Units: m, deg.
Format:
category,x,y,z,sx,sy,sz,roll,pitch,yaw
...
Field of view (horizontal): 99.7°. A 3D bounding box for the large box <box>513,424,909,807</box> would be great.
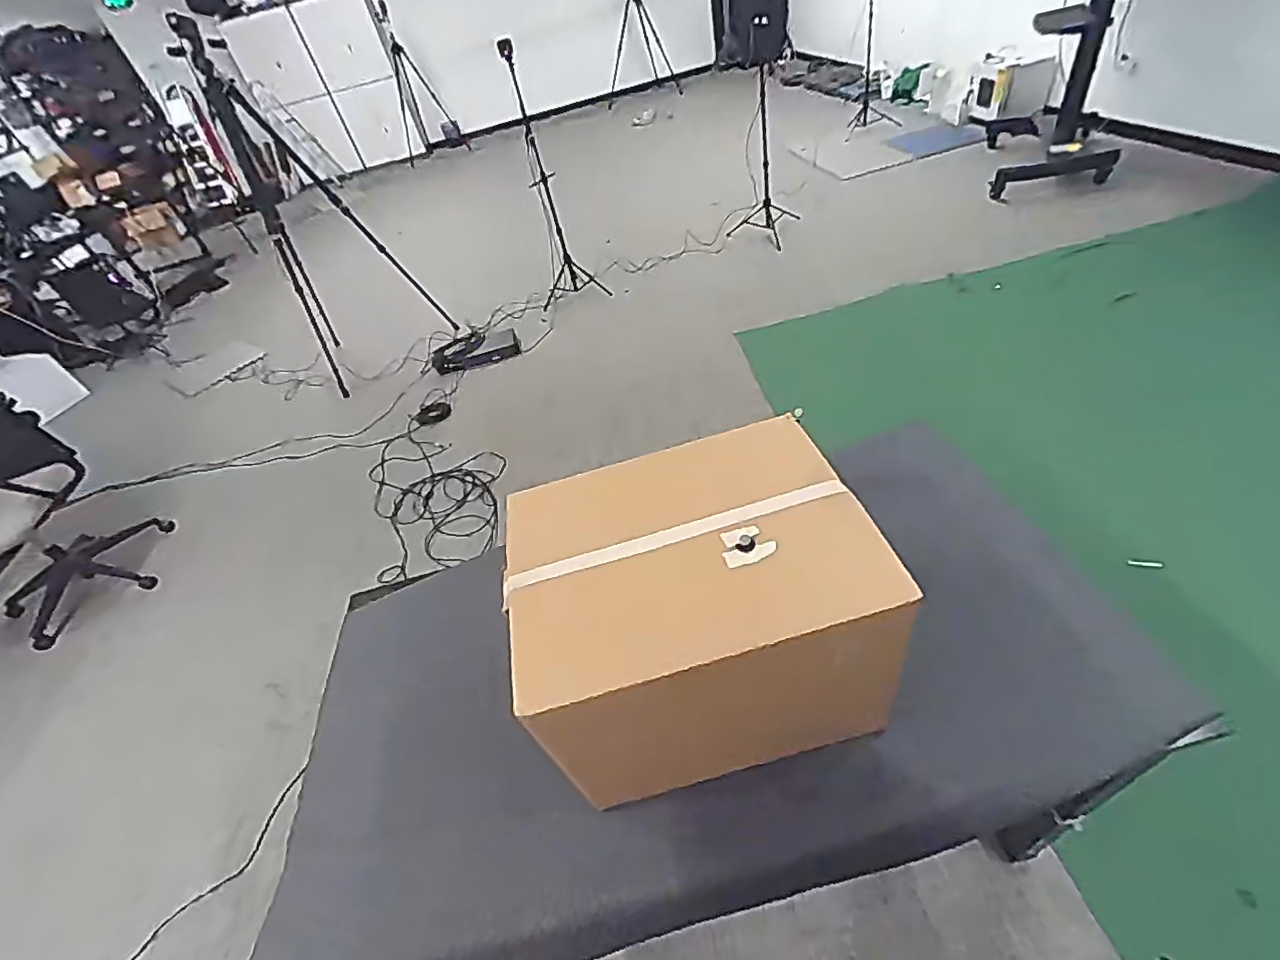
category,x,y,z,sx,sy,sz,roll,pitch,yaw
large box,0.074,0.181,0.736,0.408,0.320,0.320,-16,43,-1
